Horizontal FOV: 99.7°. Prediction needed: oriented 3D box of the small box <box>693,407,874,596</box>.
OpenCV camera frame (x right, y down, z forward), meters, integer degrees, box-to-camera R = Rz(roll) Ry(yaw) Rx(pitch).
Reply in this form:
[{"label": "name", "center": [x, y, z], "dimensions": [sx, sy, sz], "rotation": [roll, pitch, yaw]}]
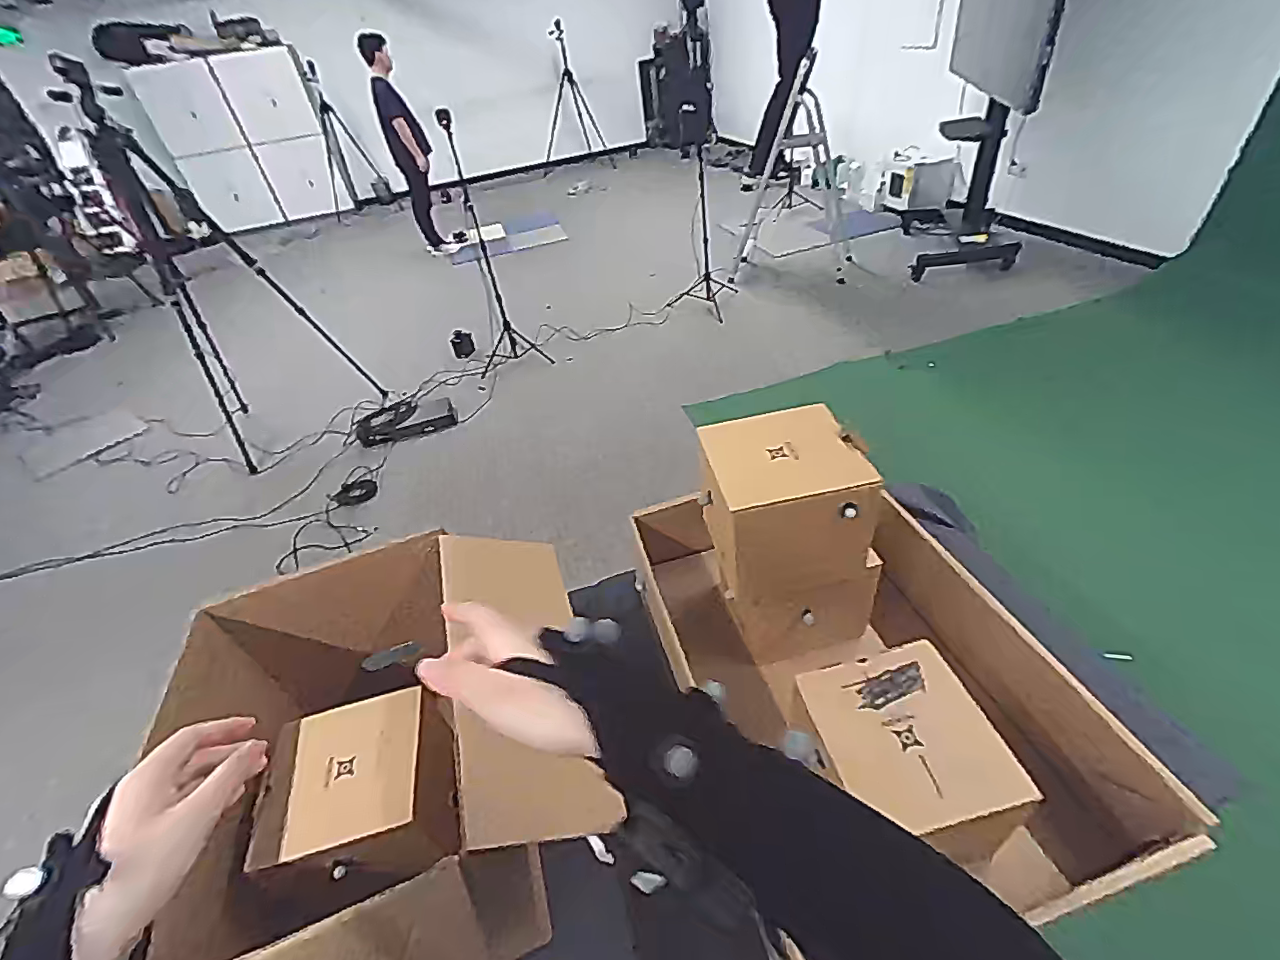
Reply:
[{"label": "small box", "center": [0.177, 0.030, 0.710], "dimensions": [0.179, 0.176, 0.168], "rotation": [-11, 41, -3]}]
